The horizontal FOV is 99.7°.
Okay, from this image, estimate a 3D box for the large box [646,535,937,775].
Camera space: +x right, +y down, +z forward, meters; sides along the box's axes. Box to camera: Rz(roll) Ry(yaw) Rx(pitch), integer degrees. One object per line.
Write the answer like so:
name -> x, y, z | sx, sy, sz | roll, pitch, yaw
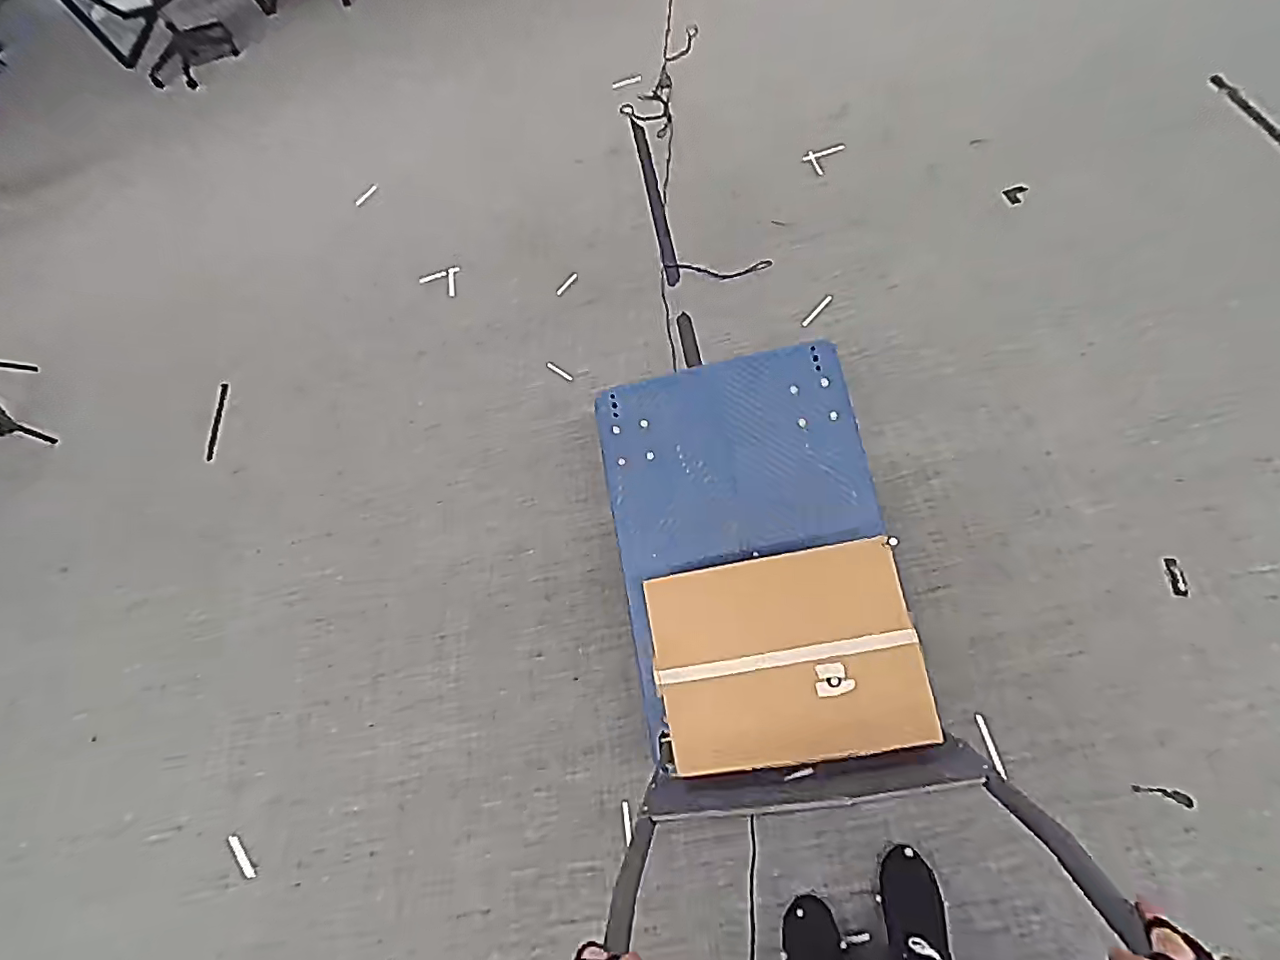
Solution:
large box -> 0.252, 0.305, 1.011 | 0.408, 0.320, 0.320 | -13, 80, 7
